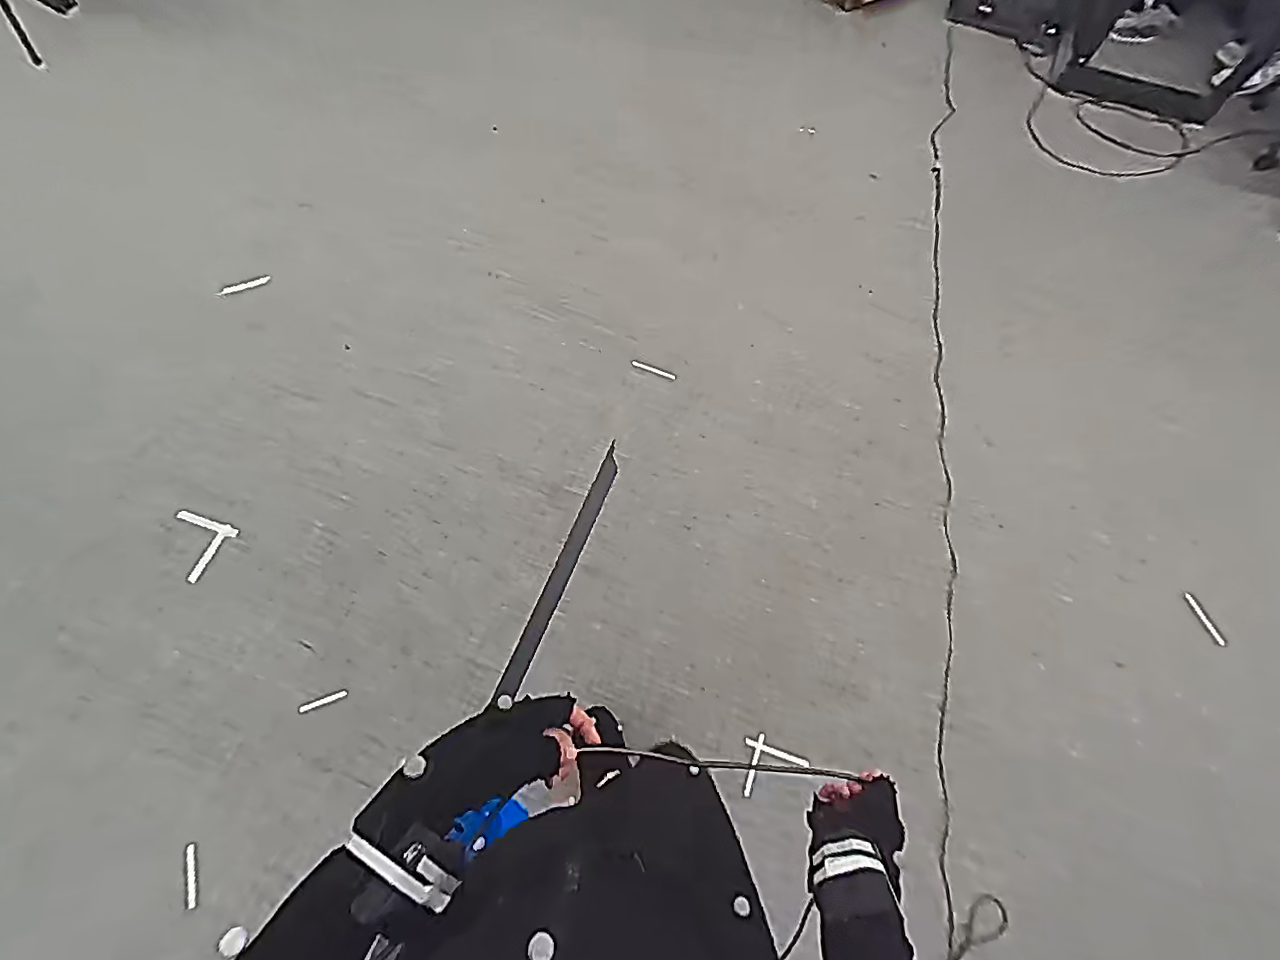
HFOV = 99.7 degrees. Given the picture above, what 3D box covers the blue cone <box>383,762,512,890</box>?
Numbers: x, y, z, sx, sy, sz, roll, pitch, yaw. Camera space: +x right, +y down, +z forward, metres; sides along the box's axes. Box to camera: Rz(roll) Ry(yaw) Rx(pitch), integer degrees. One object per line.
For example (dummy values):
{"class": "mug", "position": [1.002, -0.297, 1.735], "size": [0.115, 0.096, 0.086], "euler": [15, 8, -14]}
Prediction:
{"class": "blue cone", "position": [-0.391, 0.691, 1.031], "size": [0.192, 0.380, 0.193], "euler": [36, 71, 13]}
